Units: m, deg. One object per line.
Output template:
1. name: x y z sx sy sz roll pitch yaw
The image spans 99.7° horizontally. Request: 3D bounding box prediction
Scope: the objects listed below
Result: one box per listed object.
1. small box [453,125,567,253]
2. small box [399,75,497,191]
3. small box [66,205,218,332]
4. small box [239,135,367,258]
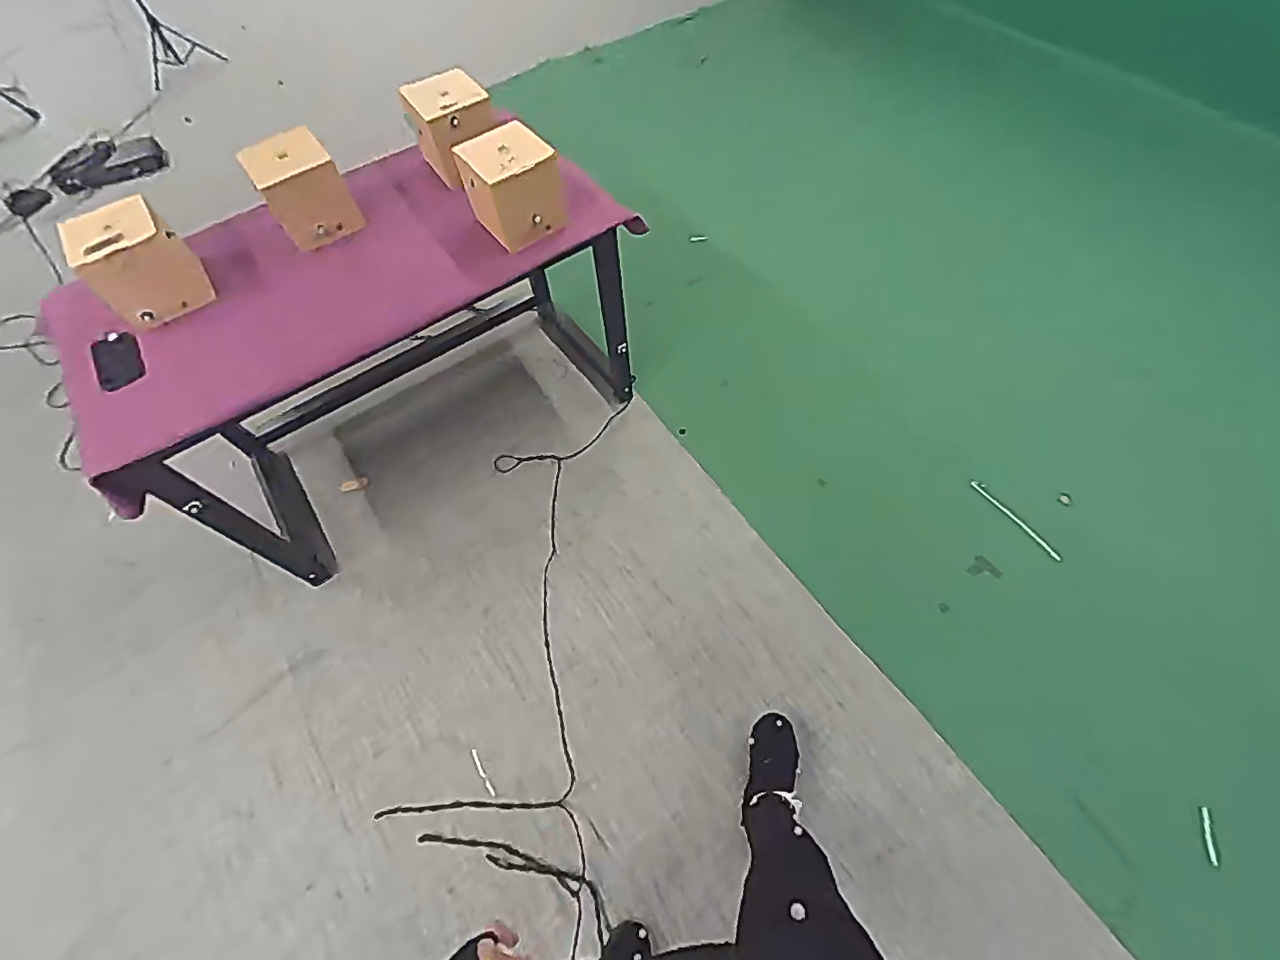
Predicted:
1. small box: -0.287 -0.651 1.220 0.168 0.176 0.179 -35 65 -13
2. small box: -0.464 -0.866 1.356 0.168 0.176 0.179 -32 63 -13
3. small box: -1.060 -0.445 1.164 0.168 0.176 0.179 -34 64 -14
4. small box: -0.780 -0.658 1.265 0.168 0.176 0.179 -34 65 -13
